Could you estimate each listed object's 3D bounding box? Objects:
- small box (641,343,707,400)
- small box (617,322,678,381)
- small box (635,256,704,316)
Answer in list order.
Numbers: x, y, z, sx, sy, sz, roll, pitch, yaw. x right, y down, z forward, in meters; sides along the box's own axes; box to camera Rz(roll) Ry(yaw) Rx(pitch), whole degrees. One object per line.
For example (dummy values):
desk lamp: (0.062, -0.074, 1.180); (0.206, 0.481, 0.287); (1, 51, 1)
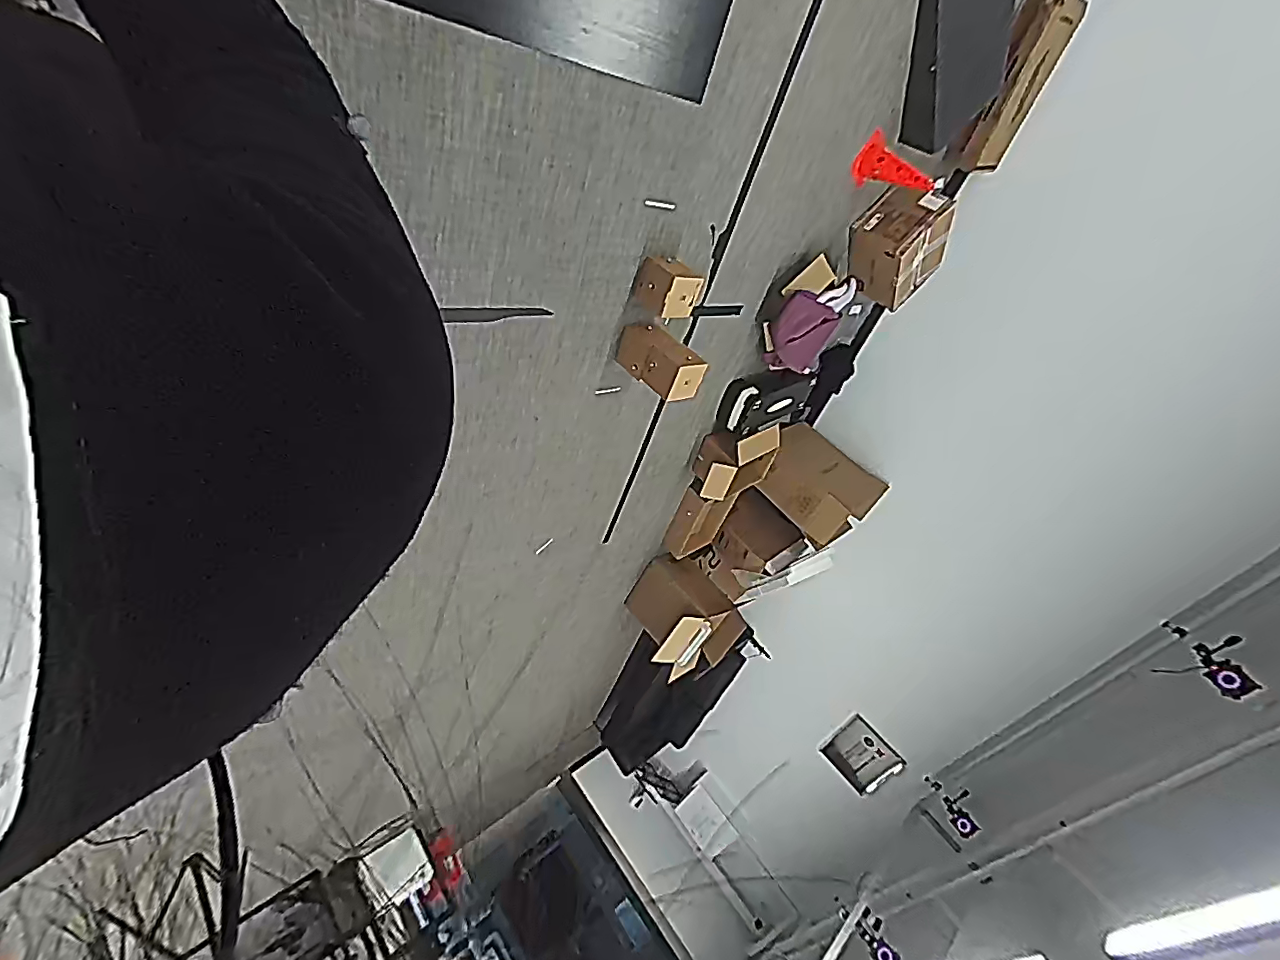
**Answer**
small box: (0.138, -0.449, 2.216); (0.179, 0.176, 0.168); (-17, 141, -41)
small box: (0.026, -0.546, 2.285); (0.168, 0.176, 0.179); (-20, 144, -40)
small box: (0.108, -0.756, 2.108); (0.179, 0.176, 0.168); (-16, 141, -43)
